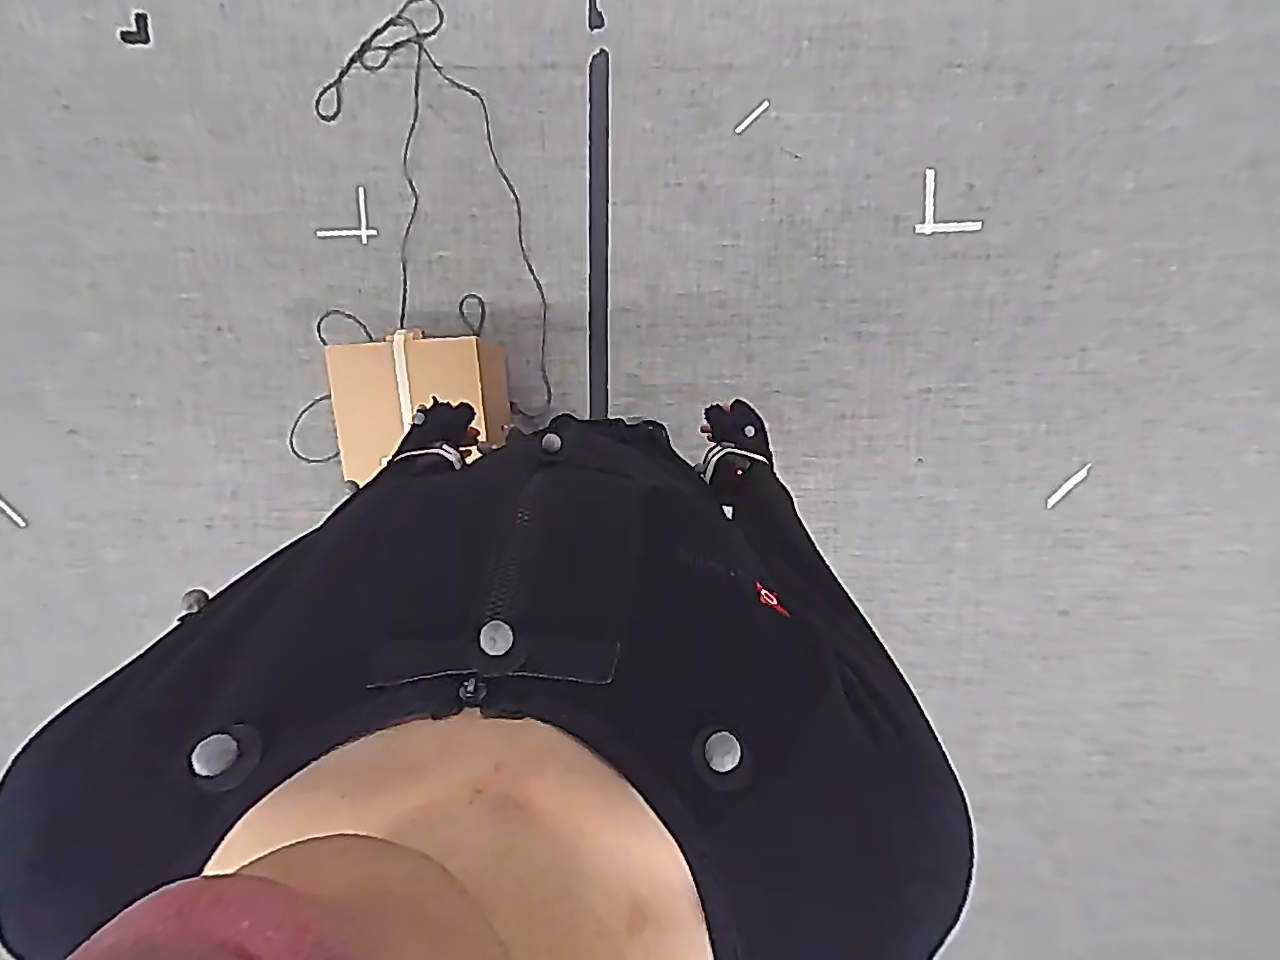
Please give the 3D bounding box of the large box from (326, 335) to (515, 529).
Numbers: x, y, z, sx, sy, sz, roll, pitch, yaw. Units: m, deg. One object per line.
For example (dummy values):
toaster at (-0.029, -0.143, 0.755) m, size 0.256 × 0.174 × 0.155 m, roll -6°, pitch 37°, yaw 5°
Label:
large box at (-0.499, -0.125, 1.316) m, size 0.320 × 0.320 × 0.408 m, roll -4°, pitch 100°, yaw -2°
